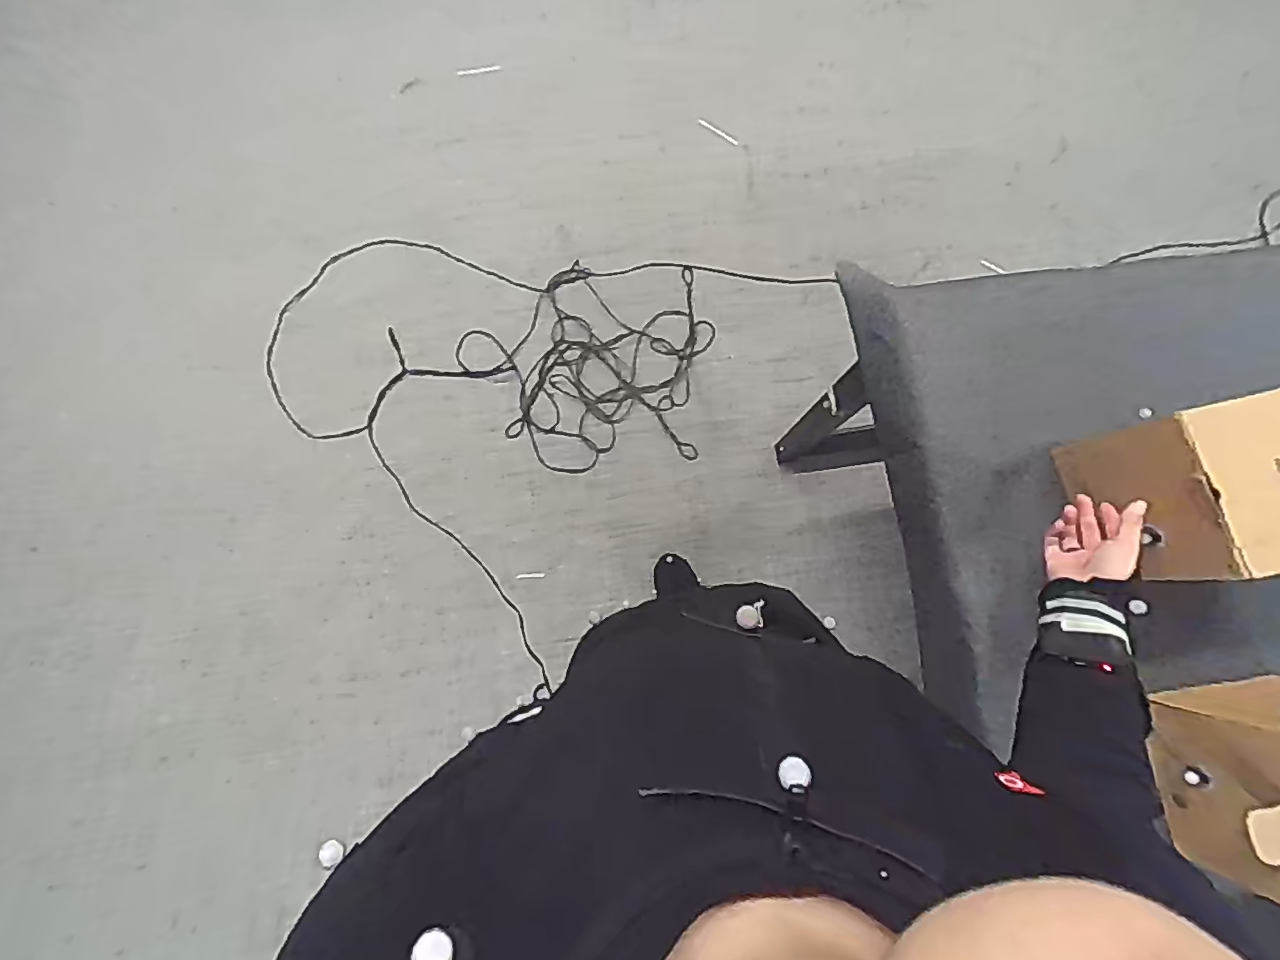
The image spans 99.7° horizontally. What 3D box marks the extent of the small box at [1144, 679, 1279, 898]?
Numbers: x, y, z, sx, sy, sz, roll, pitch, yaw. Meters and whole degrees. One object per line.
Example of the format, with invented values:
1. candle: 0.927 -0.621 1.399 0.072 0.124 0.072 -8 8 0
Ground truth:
1. small box: 0.669 0.303 0.530 0.179 0.176 0.168 -8 80 -1

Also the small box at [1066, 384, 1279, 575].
1. small box: 0.614 0.005 0.585 0.179 0.176 0.168 -14 81 -4
